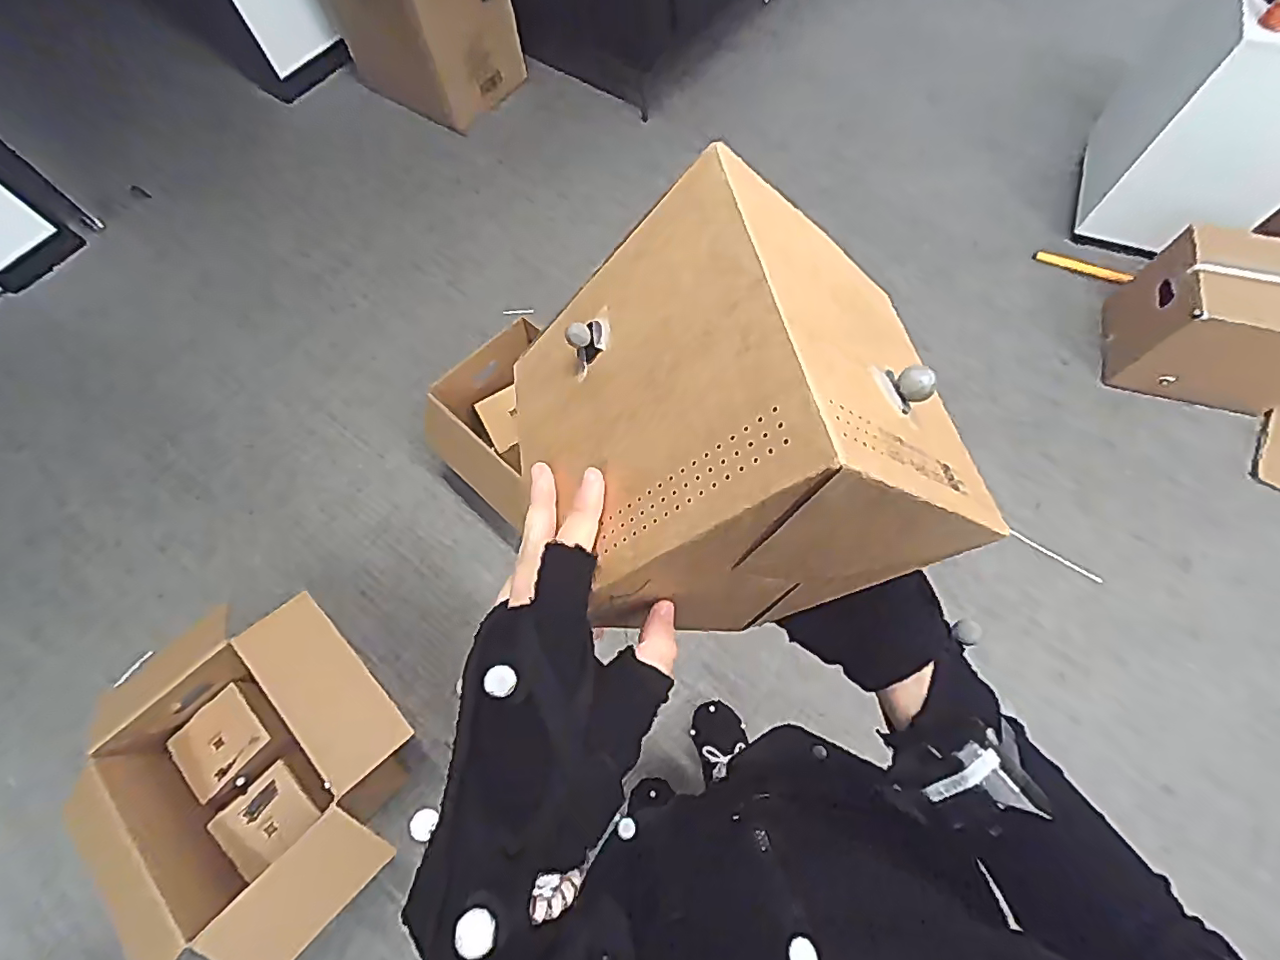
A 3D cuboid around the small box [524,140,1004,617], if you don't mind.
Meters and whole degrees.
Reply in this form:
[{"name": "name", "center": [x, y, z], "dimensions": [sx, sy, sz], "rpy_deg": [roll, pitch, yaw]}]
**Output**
[{"name": "small box", "center": [0.052, -0.026, 0.301], "dimensions": [0.168, 0.179, 0.176], "rpy_deg": [15, 54, -40]}]
